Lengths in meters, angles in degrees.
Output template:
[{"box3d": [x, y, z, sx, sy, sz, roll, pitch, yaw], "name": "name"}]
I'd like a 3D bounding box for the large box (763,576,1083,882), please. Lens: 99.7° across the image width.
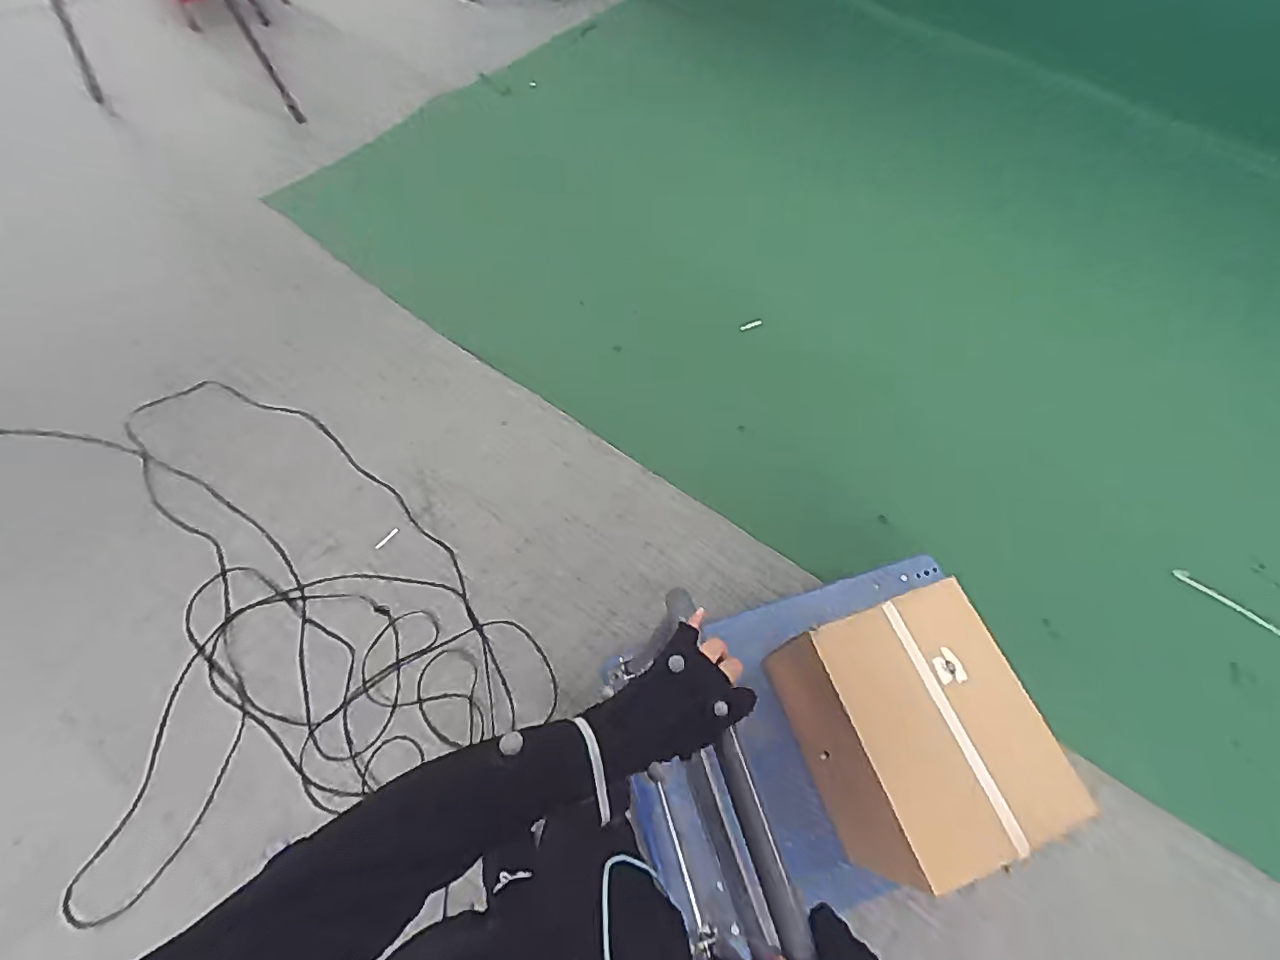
[{"box3d": [0.490, 0.458, 1.041, 0.320, 0.320, 0.408, -16, 64, -12], "name": "large box"}]
